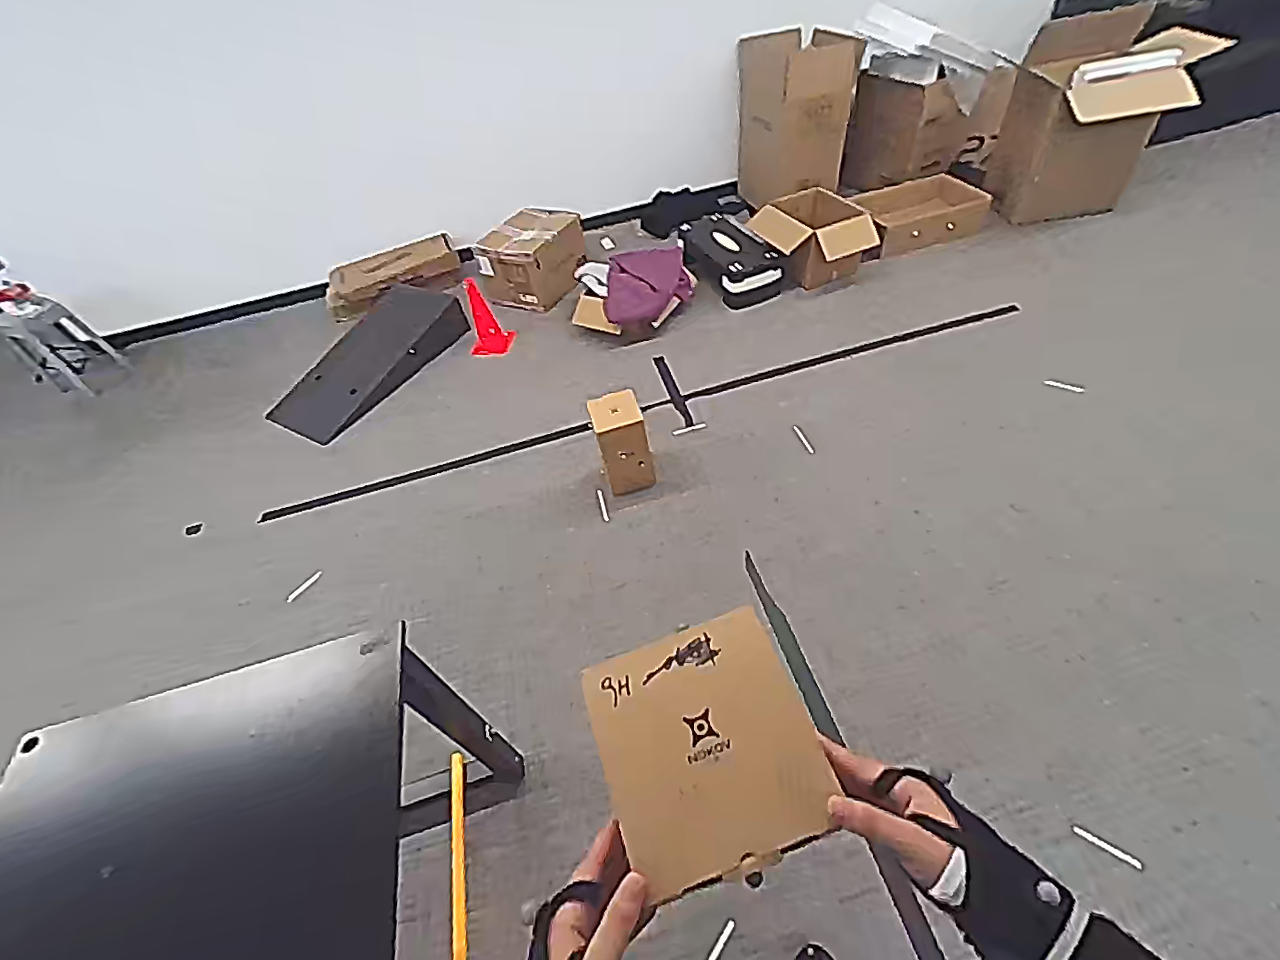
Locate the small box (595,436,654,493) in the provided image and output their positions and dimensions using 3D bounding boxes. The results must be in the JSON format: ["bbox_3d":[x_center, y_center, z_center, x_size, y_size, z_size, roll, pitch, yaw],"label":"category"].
[{"bbox_3d":[-0.052,-0.078,1.997,0.179,0.176,0.168,-17,48,-5],"label":"small box"}]

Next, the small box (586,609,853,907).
[{"bbox_3d":[0.067,0.250,0.501,0.168,0.176,0.179,-21,57,-3],"label":"small box"}]

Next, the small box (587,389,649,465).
[{"bbox_3d":[-0.075,-0.181,1.873,0.168,0.176,0.179,-17,49,-3],"label":"small box"}]
